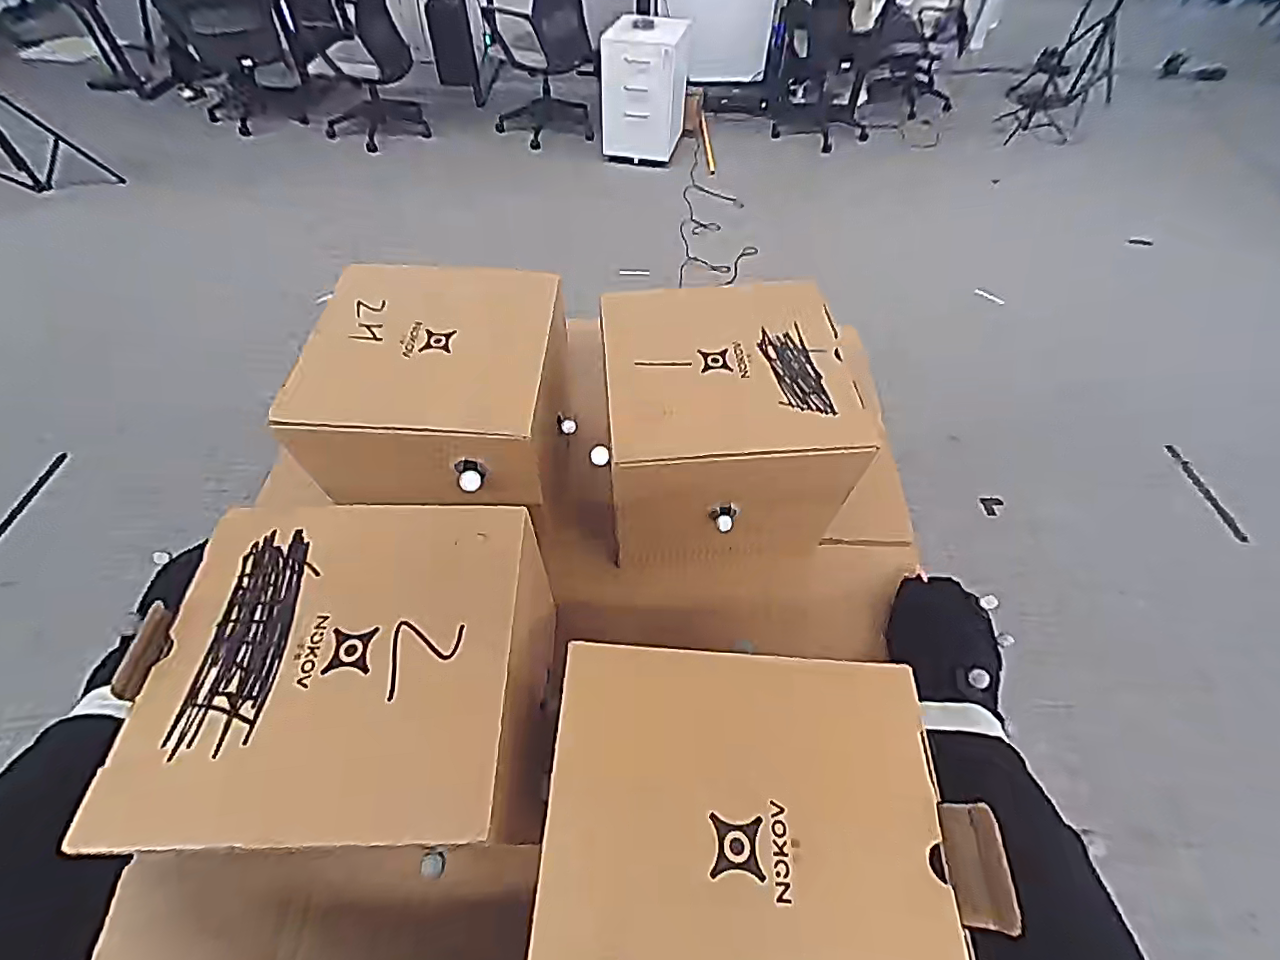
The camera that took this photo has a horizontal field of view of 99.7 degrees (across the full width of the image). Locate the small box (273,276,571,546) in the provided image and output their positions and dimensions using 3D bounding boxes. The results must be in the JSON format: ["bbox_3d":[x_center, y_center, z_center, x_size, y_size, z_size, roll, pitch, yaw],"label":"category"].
[{"bbox_3d":[-0.159,-0.052,0.473,0.179,0.176,0.168,3,56,1],"label":"small box"}]
